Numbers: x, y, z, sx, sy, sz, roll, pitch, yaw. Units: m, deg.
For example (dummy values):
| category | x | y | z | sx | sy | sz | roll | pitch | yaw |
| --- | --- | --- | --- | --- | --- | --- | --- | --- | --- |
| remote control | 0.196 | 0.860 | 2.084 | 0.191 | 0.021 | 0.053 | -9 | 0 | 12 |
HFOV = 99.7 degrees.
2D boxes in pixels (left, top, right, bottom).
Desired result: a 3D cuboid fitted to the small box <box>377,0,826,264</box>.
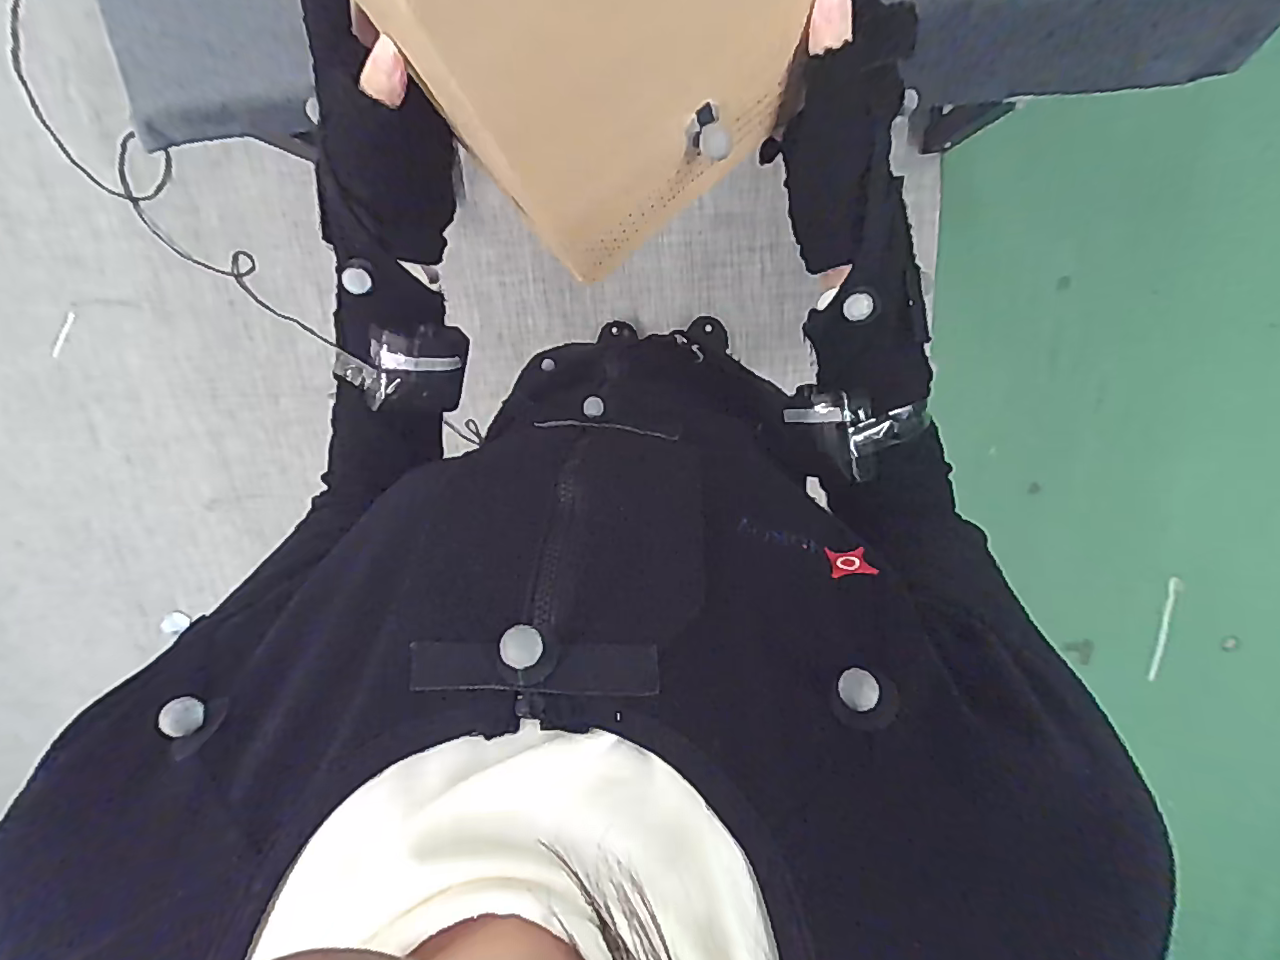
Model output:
| category | x | y | z | sx | sy | sz | roll | pitch | yaw |
| --- | --- | --- | --- | --- | --- | --- | --- | --- | --- |
| small box | -0.028 | -0.244 | 0.245 | 0.179 | 0.176 | 0.168 | -39 | 73 | 5 |
